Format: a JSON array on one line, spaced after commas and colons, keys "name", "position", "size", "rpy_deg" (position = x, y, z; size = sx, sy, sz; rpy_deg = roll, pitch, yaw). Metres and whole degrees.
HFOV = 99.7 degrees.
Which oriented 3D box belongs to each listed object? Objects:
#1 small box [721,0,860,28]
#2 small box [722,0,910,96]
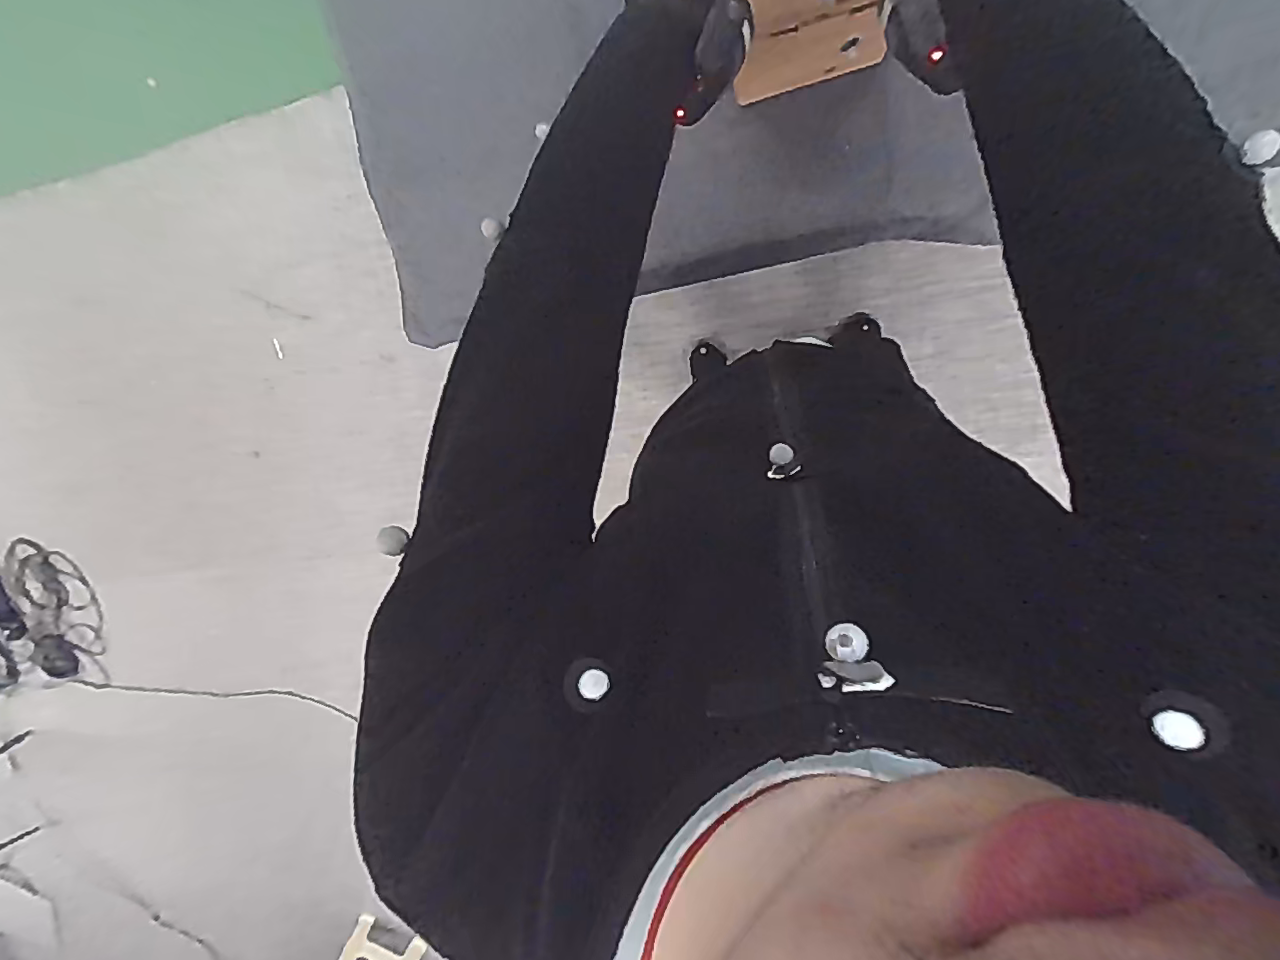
[{"name": "small box", "position": [0.133, -0.474, 0.395], "size": [0.168, 0.176, 0.179], "rpy_deg": [-7, 109, 12]}, {"name": "small box", "position": [0.165, -0.523, 0.545], "size": [0.168, 0.176, 0.179], "rpy_deg": [-9, 106, 13]}]
